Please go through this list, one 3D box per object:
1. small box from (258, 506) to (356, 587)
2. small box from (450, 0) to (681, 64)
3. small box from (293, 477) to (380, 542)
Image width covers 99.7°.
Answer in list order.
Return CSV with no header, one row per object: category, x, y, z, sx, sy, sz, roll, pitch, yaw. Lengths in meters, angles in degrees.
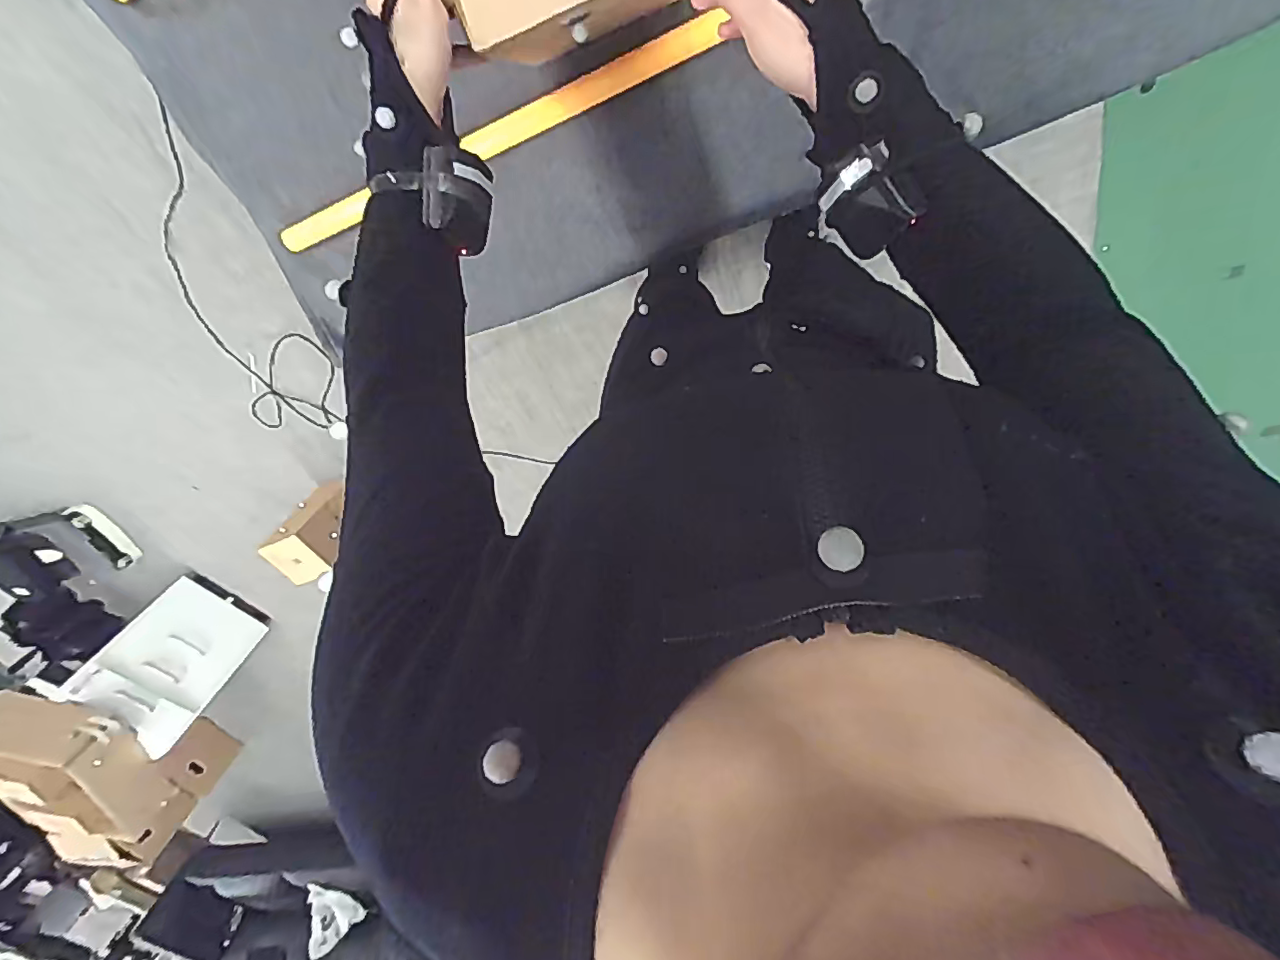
small box,-1.032,0.205,1.700,0.179,0.176,0.168,-19,121,21
small box,-0.059,-0.440,0.403,0.179,0.176,0.168,-13,123,16
small box,-1.020,0.114,1.837,0.179,0.176,0.168,-18,122,20
